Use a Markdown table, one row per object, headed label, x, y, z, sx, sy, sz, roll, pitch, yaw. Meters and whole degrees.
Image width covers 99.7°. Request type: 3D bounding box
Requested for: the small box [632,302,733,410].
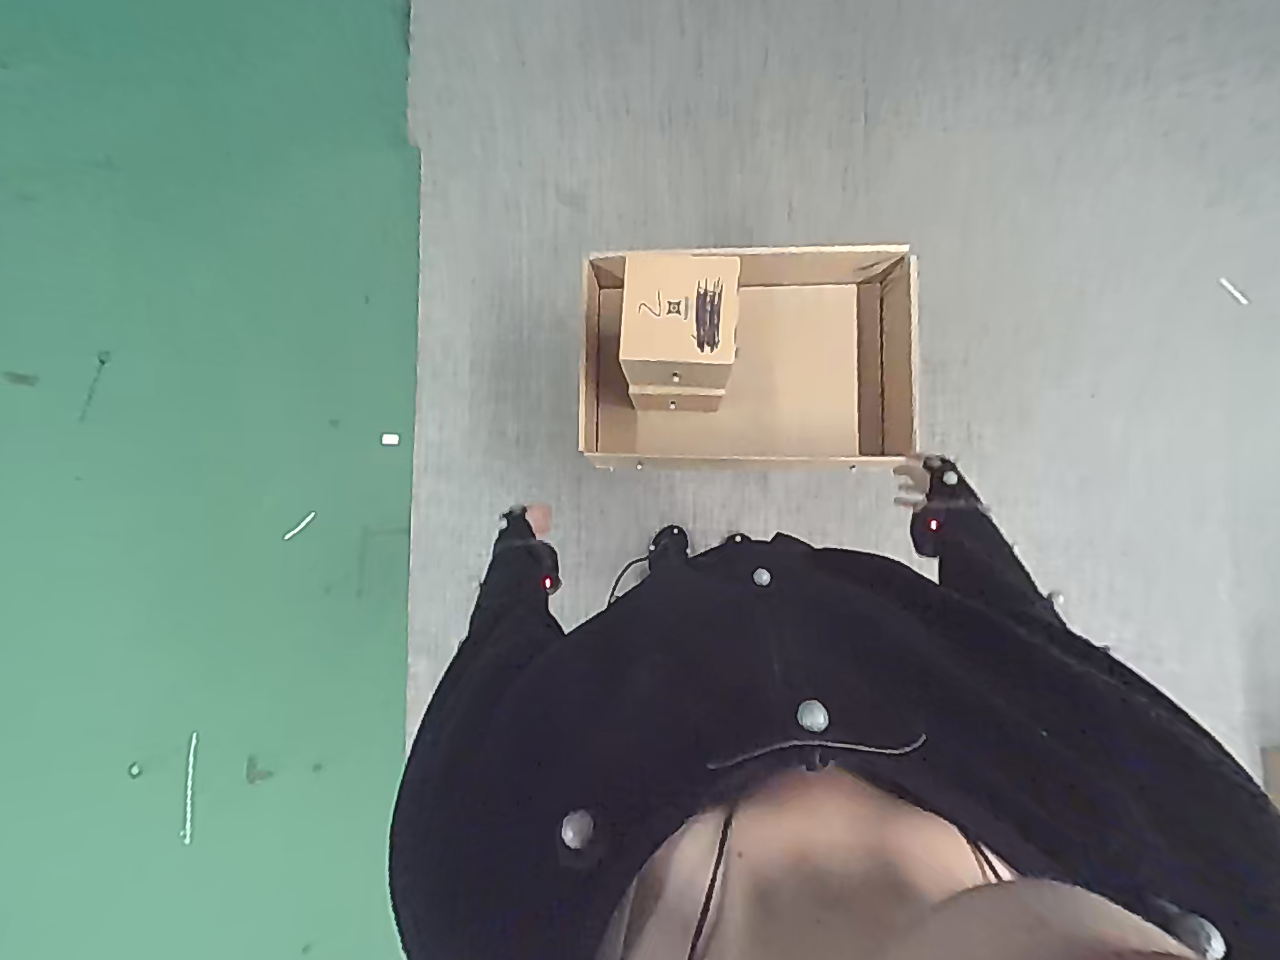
| label | x | y | z | sx | sy | sz | roll | pitch | yaw |
| --- | --- | --- | --- | --- | --- | --- | --- | --- | --- |
| small box | 0.081 | -0.232 | 1.046 | 0.179 | 0.176 | 0.168 | 2 | 86 | 5 |
